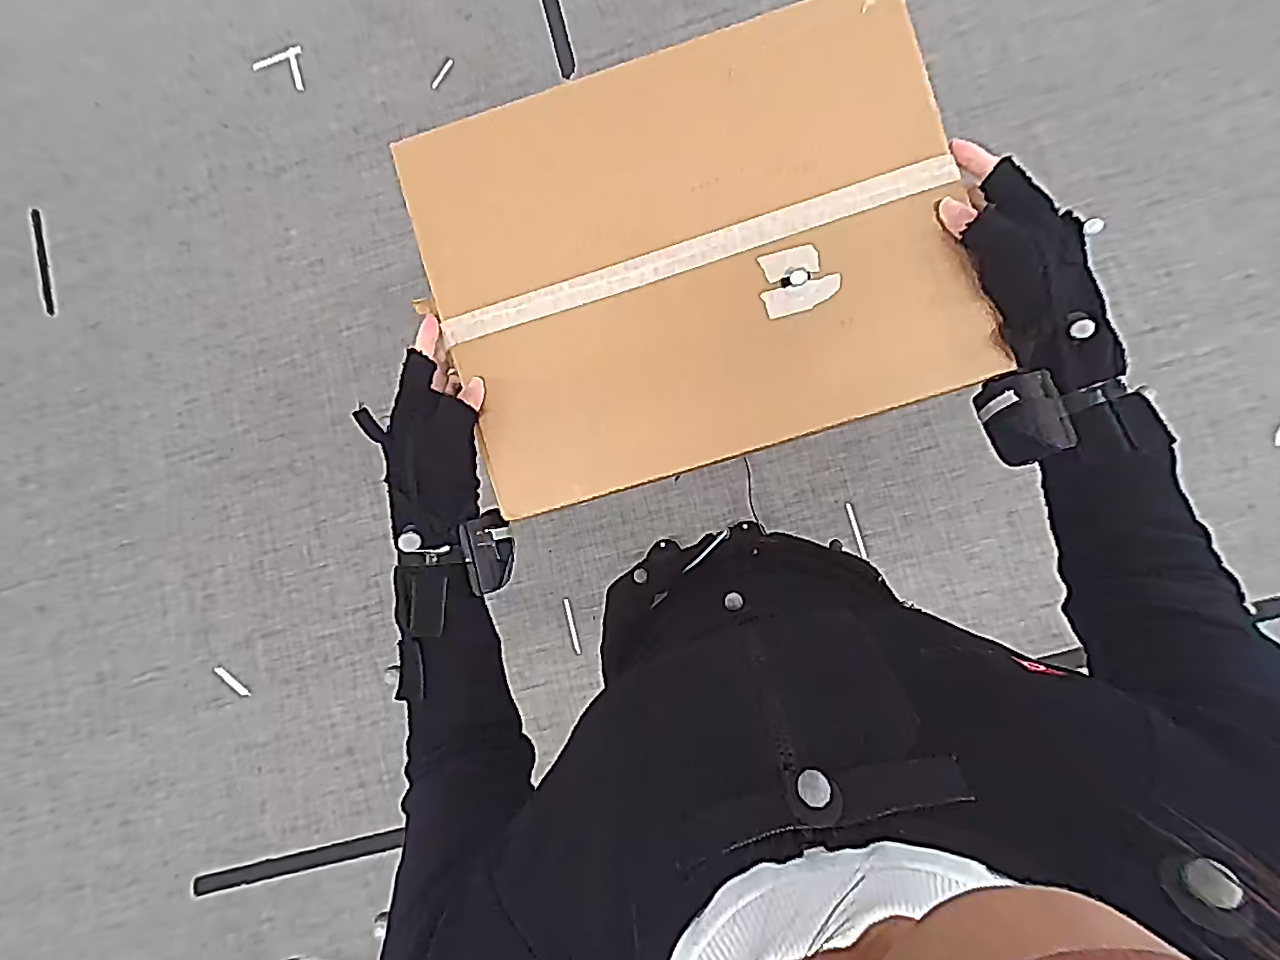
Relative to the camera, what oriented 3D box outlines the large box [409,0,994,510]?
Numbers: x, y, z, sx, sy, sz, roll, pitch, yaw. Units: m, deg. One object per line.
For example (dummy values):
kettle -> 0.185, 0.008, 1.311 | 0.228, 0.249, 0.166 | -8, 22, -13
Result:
large box -> 0.048, -0.179, 0.576 | 0.408, 0.320, 0.320 | -17, 90, 2
